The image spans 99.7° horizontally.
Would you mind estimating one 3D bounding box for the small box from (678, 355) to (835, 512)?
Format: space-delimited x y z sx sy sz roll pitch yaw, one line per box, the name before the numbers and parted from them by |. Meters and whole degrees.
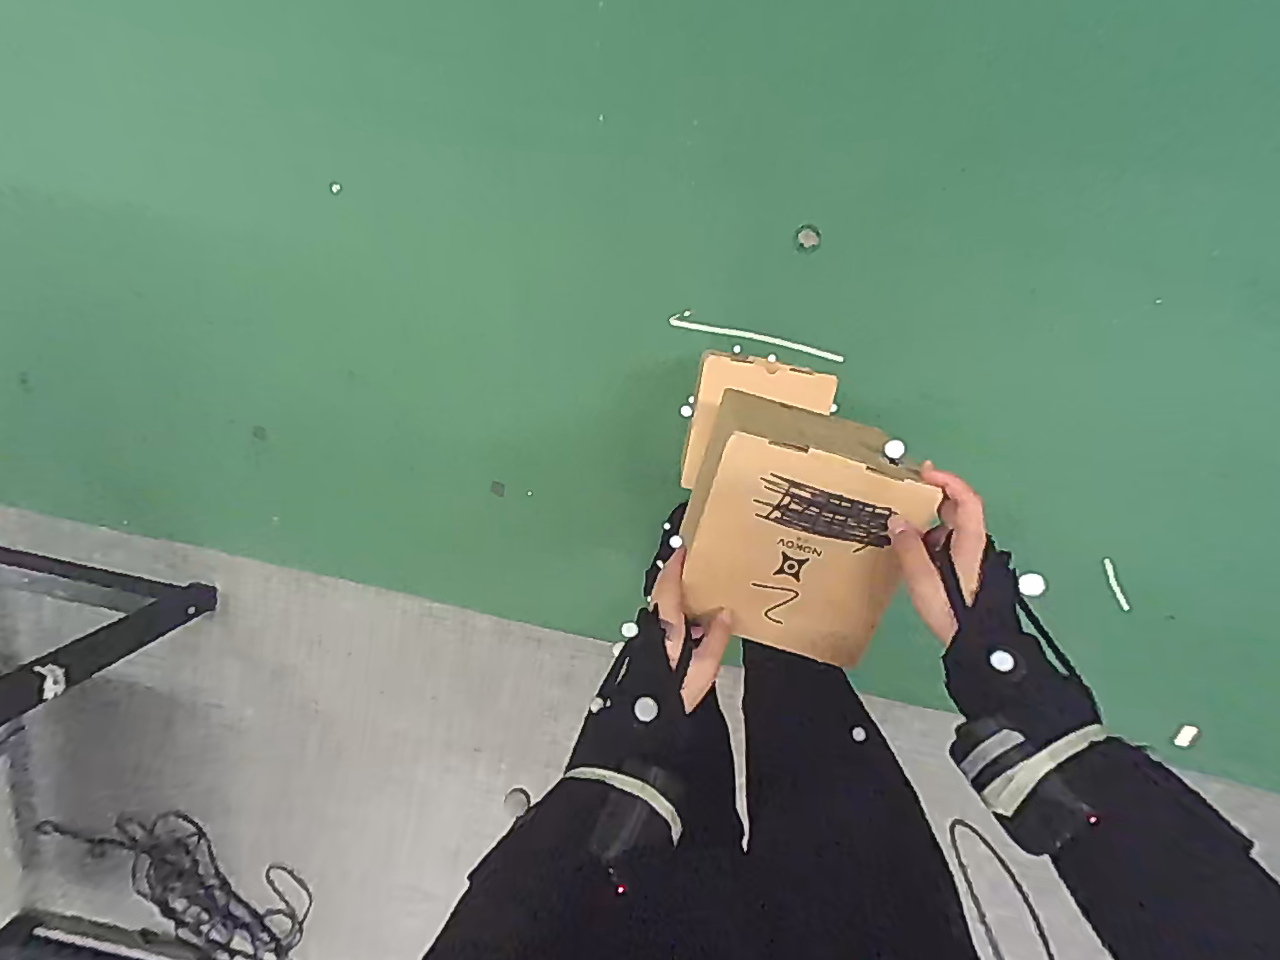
small box | 0.153 -0.074 0.762 0.168 0.176 0.179 11 104 3
